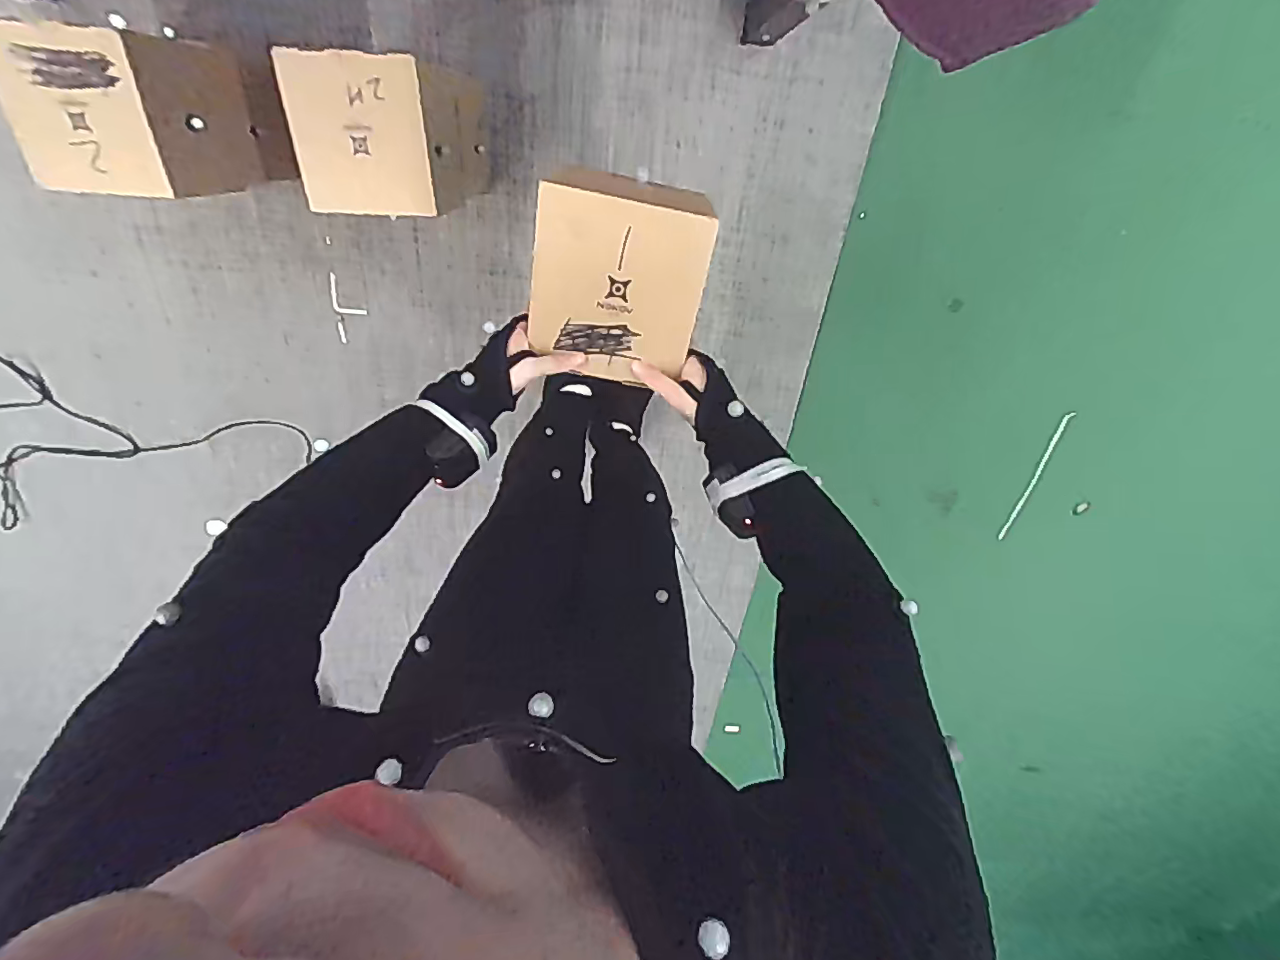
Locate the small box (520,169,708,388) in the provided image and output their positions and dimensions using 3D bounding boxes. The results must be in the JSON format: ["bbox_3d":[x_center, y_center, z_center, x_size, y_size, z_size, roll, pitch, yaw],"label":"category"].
[{"bbox_3d":[-0.030,-0.230,0.607,0.168,0.176,0.179,10,123,-6],"label":"small box"}]

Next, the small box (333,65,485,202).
[{"bbox_3d":[-0.364,-0.560,0.888,0.179,0.176,0.168,2,121,-4],"label":"small box"}]
